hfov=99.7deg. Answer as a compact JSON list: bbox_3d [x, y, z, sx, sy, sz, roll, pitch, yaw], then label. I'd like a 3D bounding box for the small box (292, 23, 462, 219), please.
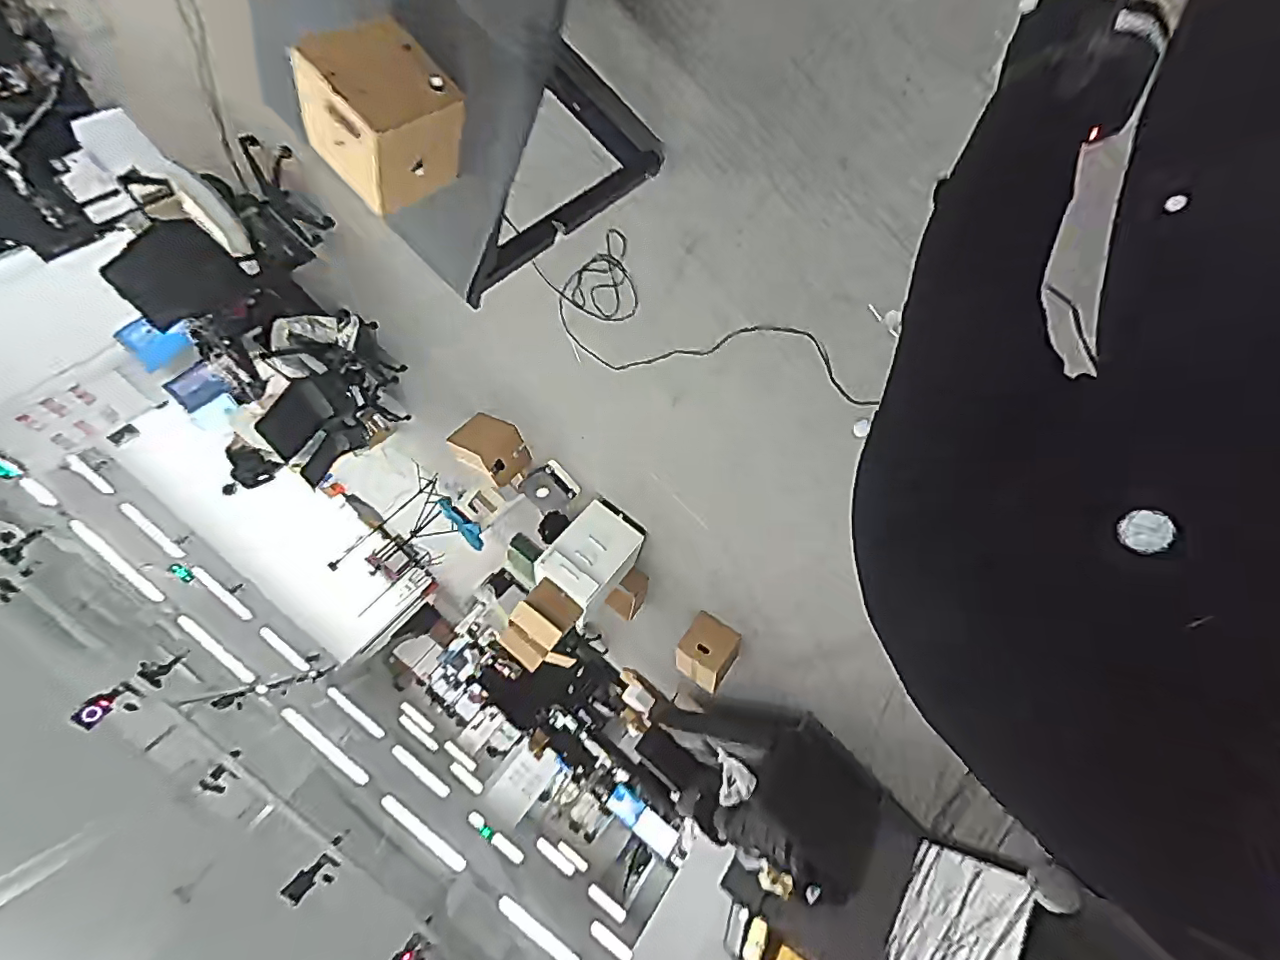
[{"bbox_3d":[-0.406,-0.569,0.861,0.168,0.176,0.179,46,153,-5],"label":"small box"}]
